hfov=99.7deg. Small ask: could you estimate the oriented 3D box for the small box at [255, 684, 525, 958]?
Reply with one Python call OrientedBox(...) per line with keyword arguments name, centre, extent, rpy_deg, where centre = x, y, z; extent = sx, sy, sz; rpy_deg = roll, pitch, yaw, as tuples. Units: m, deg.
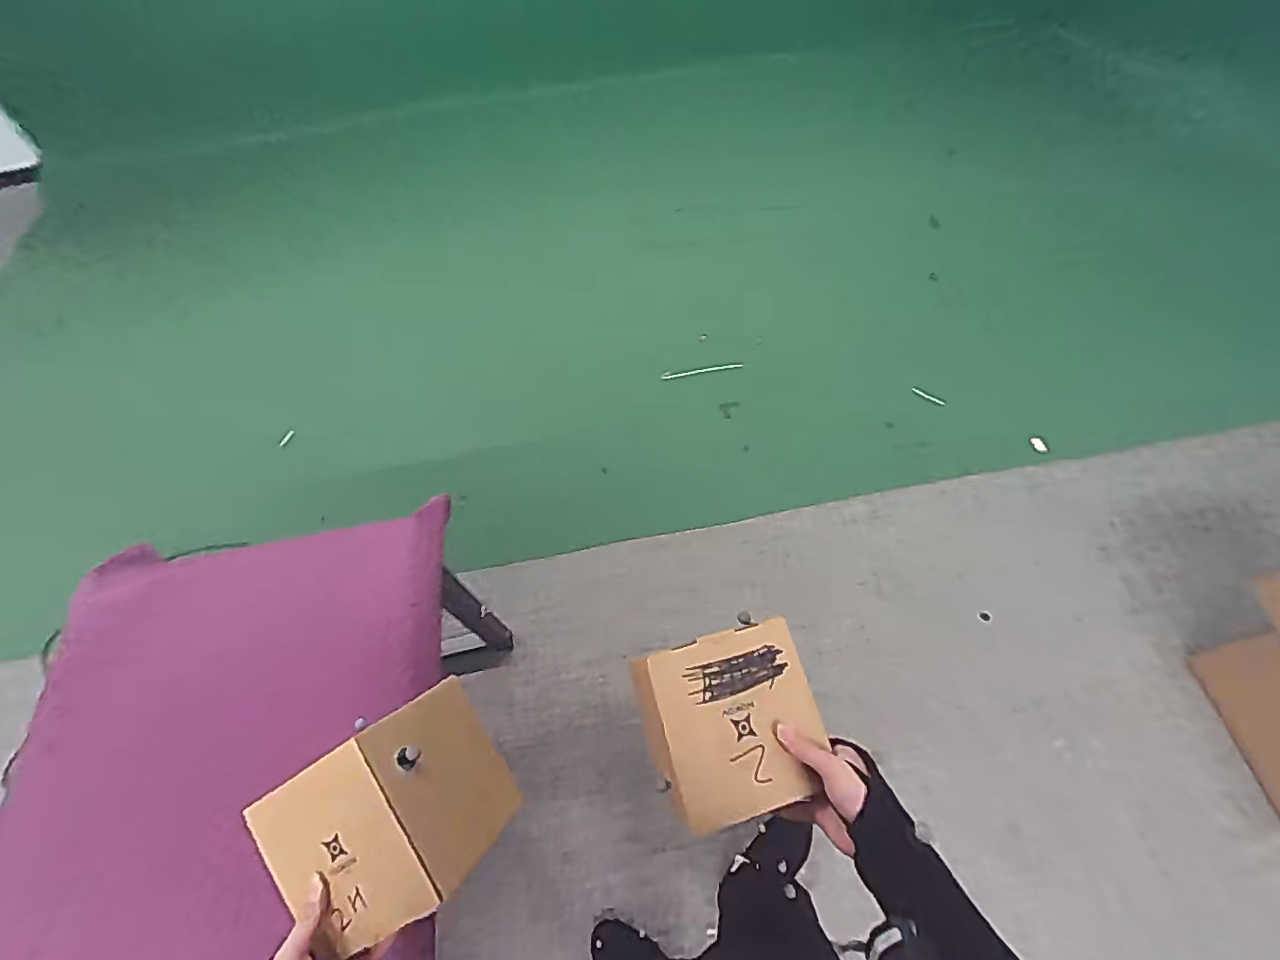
OrientedBox(name="small box", centre=(-0.262, 0.351, 0.599), extent=(0.168, 0.176, 0.179), rpy_deg=(-34, 82, 13))
